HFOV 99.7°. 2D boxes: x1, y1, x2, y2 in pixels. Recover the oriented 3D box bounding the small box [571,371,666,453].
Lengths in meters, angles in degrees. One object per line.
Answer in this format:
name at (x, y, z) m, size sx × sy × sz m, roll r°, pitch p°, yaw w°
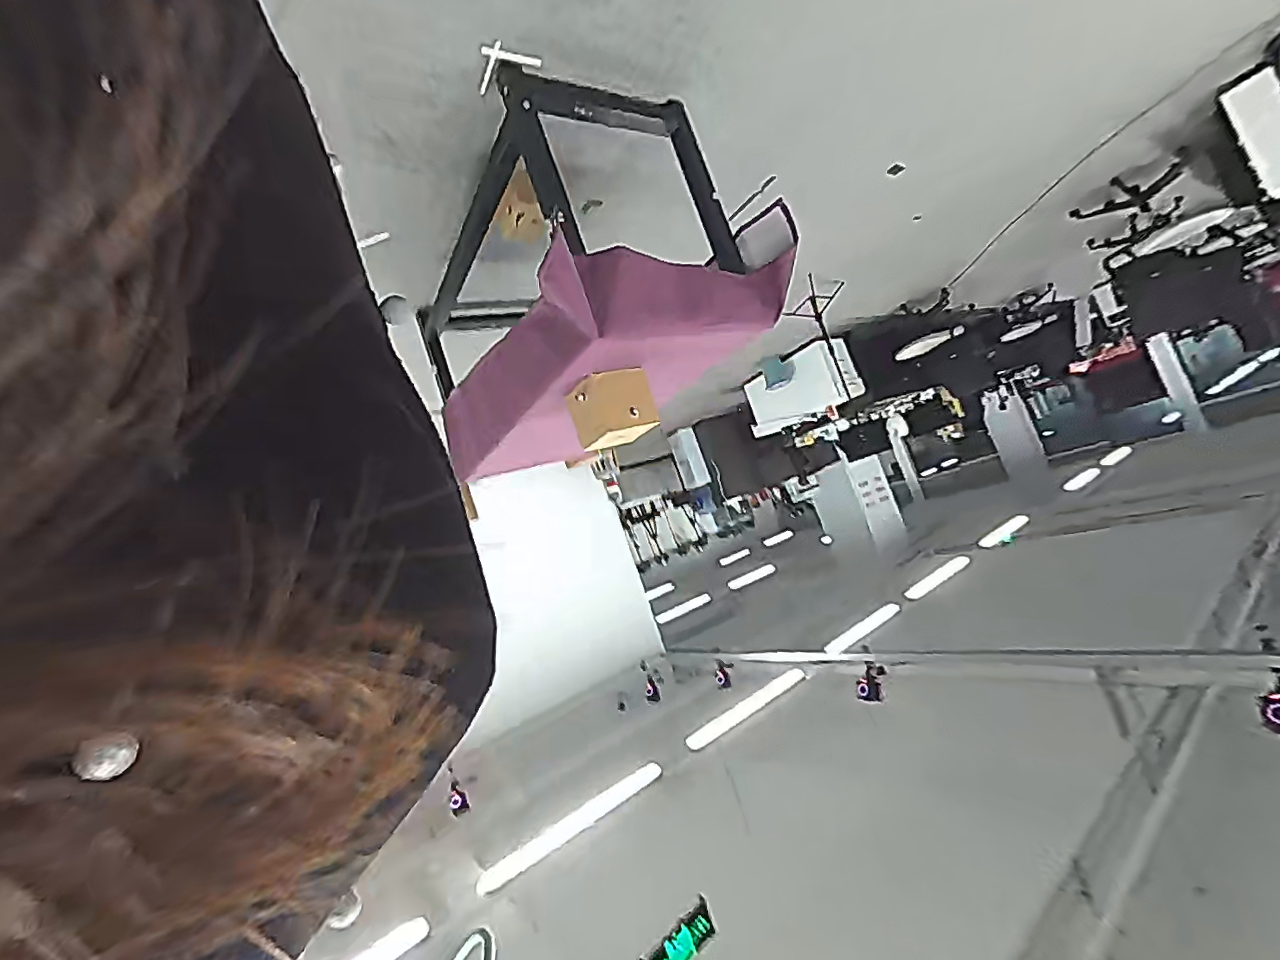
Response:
small box at (-0.062, -0.191, 1.494) m, size 0.179 × 0.176 × 0.168 m, roll -15°, pitch 173°, yaw -35°
